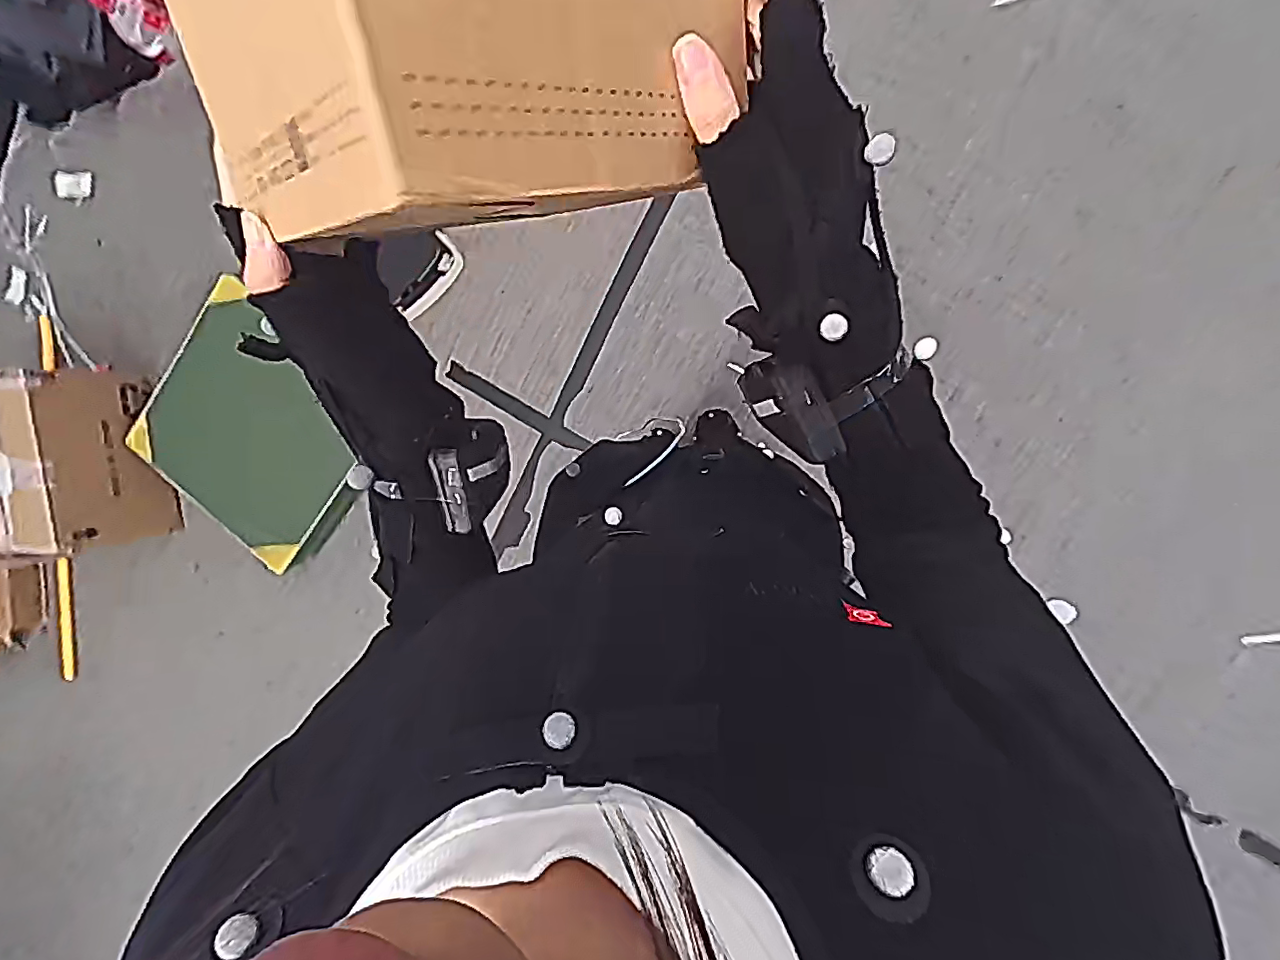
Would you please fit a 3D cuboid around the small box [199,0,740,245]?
[{"bbox_3d":[-0.070,-0.196,0.227,0.168,0.179,0.176,22,128,43],"label":"small box"}]
